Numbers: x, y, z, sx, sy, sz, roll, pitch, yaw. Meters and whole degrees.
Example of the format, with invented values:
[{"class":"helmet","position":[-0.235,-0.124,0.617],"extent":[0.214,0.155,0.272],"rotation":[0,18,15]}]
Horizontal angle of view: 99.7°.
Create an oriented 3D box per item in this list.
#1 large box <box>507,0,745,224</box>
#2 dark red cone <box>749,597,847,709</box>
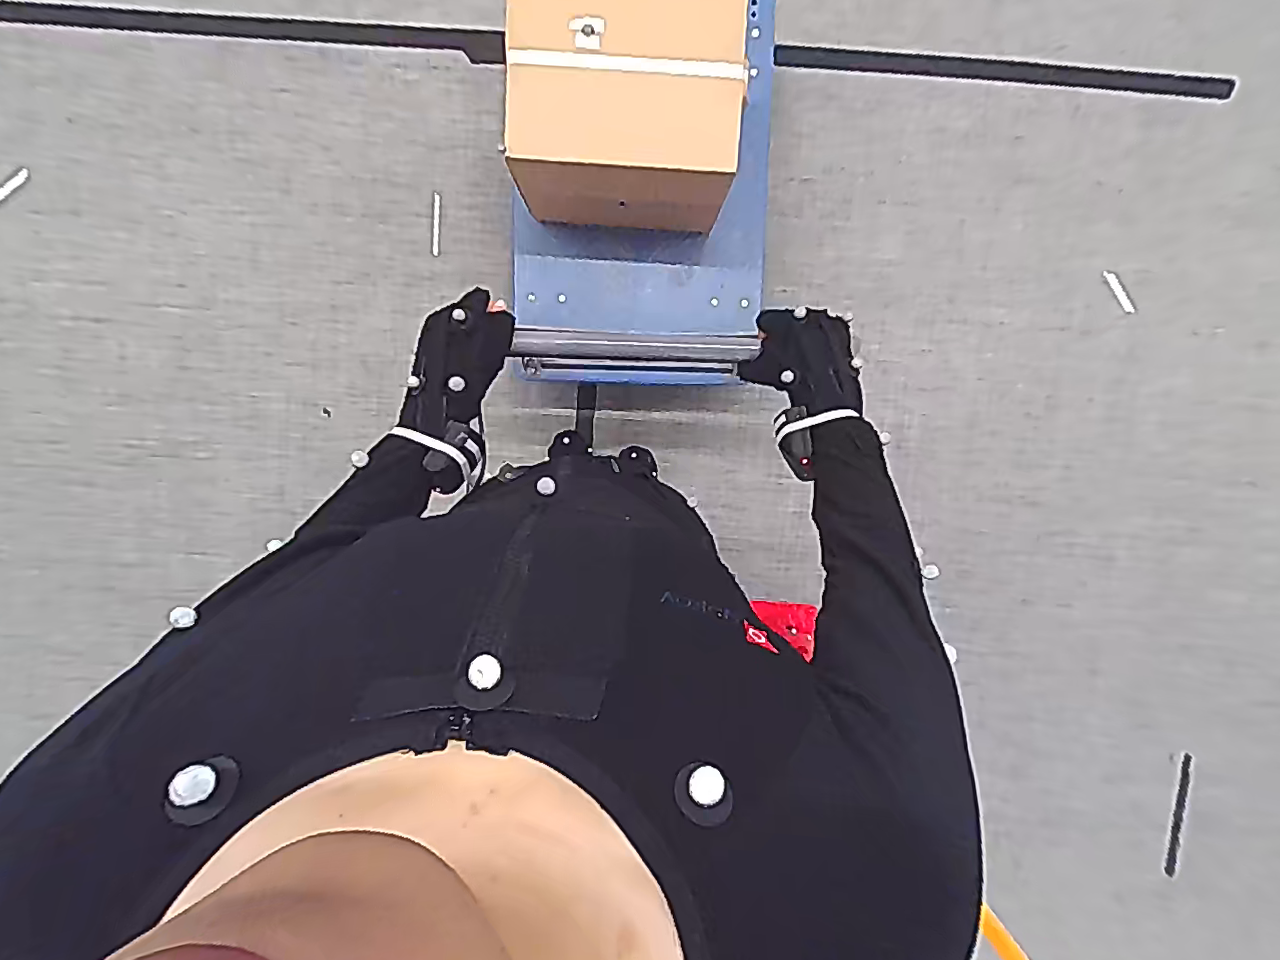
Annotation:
[{"class":"large box","position":[-0.025,-0.718,1.067],"extent":[0.408,0.320,0.320],"rotation":[3,97,-1]},{"class":"dark red cone","position":[0.410,0.445,1.329],"extent":[0.201,0.394,0.202],"rotation":[3,97,-3]}]
